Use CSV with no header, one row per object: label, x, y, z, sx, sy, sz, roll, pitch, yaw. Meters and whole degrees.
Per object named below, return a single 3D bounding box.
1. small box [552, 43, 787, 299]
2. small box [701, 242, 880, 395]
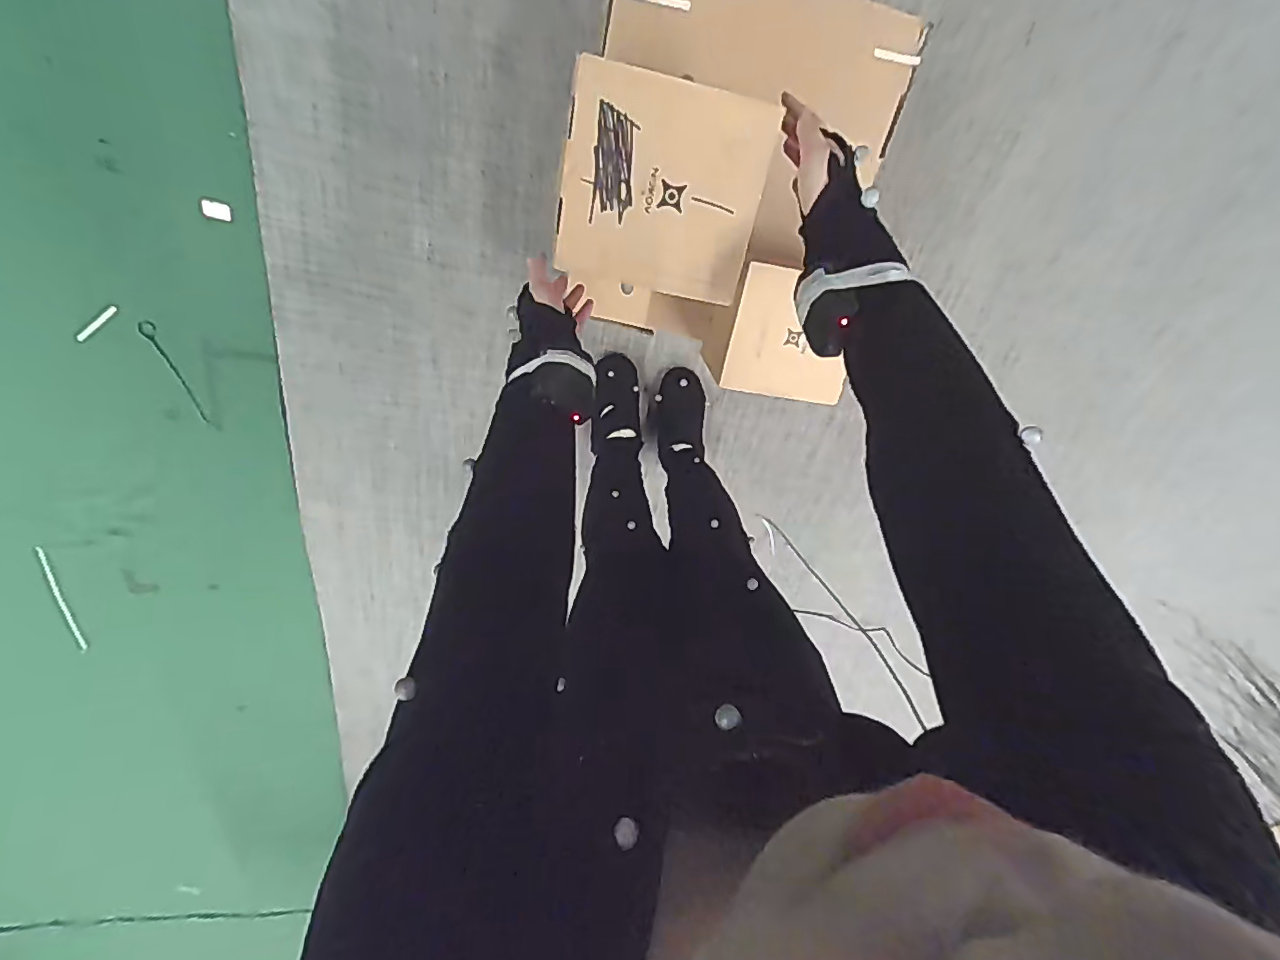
small box,0.017,-0.294,0.537,0.179,0.176,0.168,9,118,-8
small box,0.199,-0.237,0.773,0.179,0.176,0.168,7,118,-8
